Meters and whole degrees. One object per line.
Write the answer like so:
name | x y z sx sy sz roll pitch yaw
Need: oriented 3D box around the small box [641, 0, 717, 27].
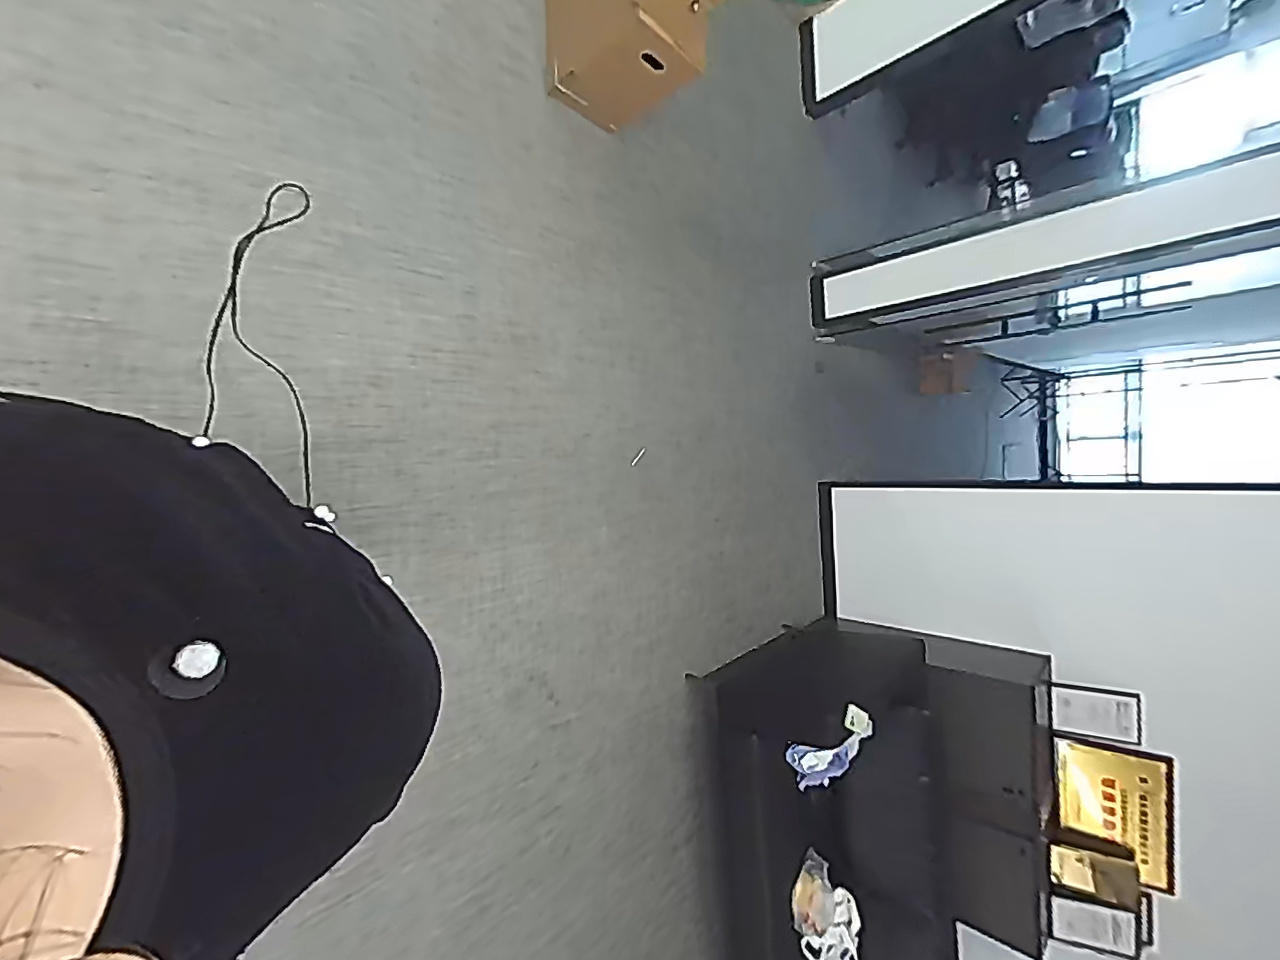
small box | 0.102 -1.416 1.497 0.179 0.176 0.168 3 88 -46
